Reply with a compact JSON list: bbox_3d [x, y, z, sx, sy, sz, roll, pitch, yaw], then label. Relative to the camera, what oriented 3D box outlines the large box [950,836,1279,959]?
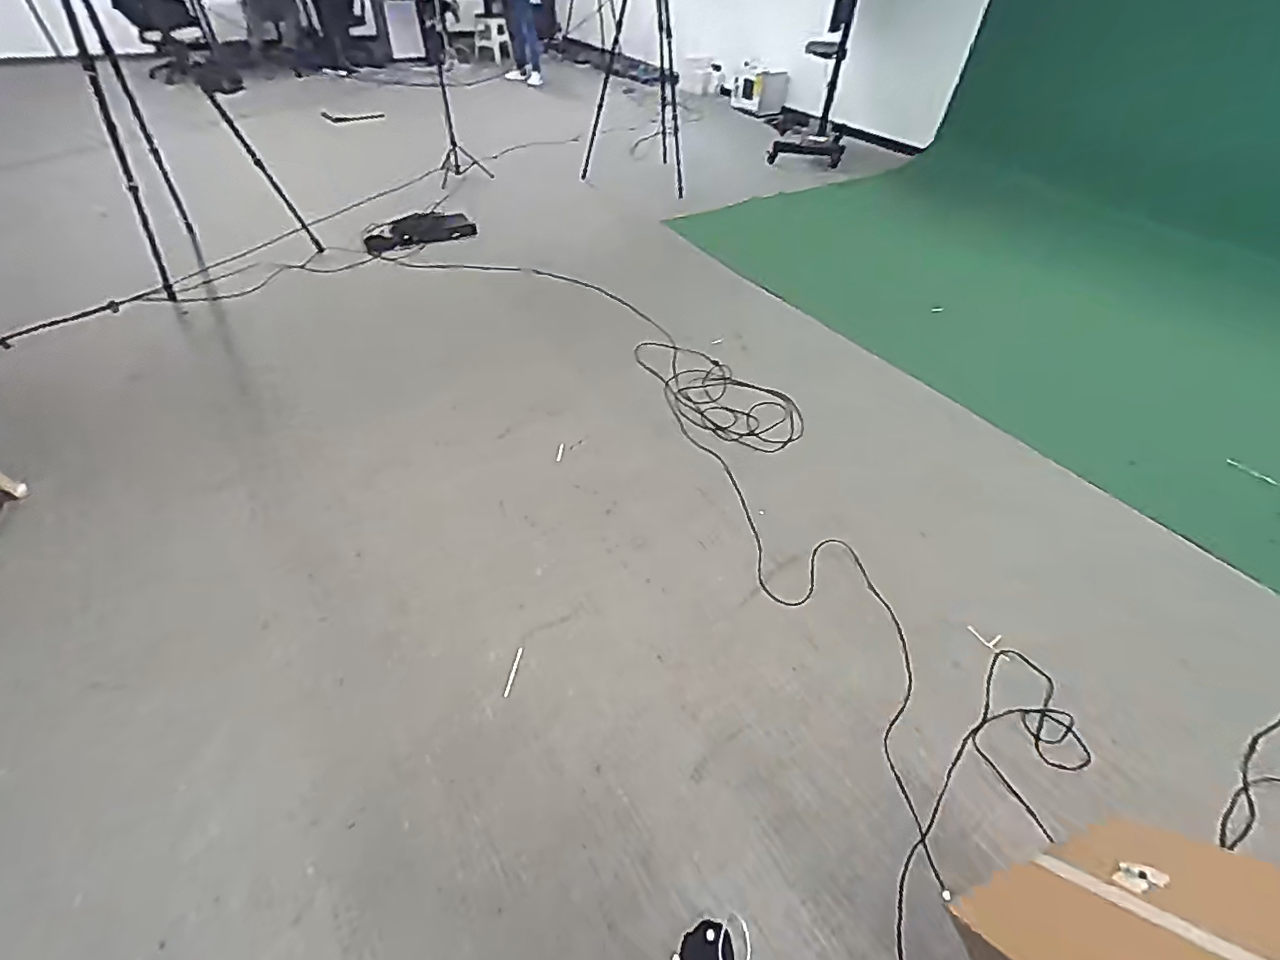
[{"bbox_3d":[0.646,0.660,0.568,0.320,0.408,0.320,-18,73,-8],"label":"large box"}]
